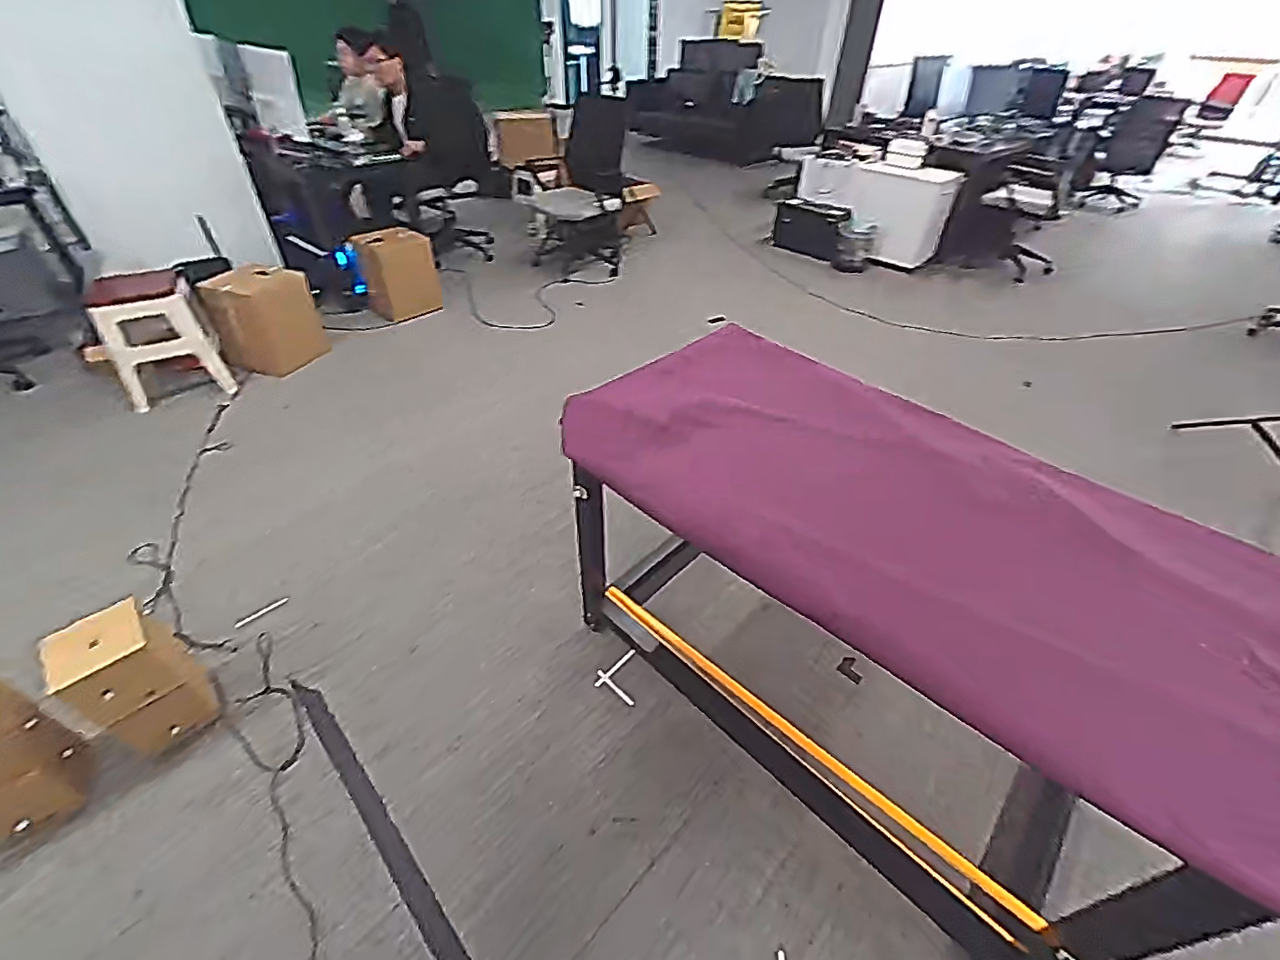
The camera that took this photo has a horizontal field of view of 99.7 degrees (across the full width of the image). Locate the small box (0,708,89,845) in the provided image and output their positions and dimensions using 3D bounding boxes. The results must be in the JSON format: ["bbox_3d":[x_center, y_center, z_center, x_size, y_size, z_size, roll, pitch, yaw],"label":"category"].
[{"bbox_3d":[-1.358,0.647,1.180,0.168,0.176,0.179,-27,49,-28],"label":"small box"}]

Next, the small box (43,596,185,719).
[{"bbox_3d":[-1.172,0.405,1.216,0.168,0.176,0.179,-32,51,-31],"label":"small box"}]

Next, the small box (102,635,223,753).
[{"bbox_3d":[-1.173,0.525,1.325,0.168,0.176,0.179,-32,52,-31],"label":"small box"}]
